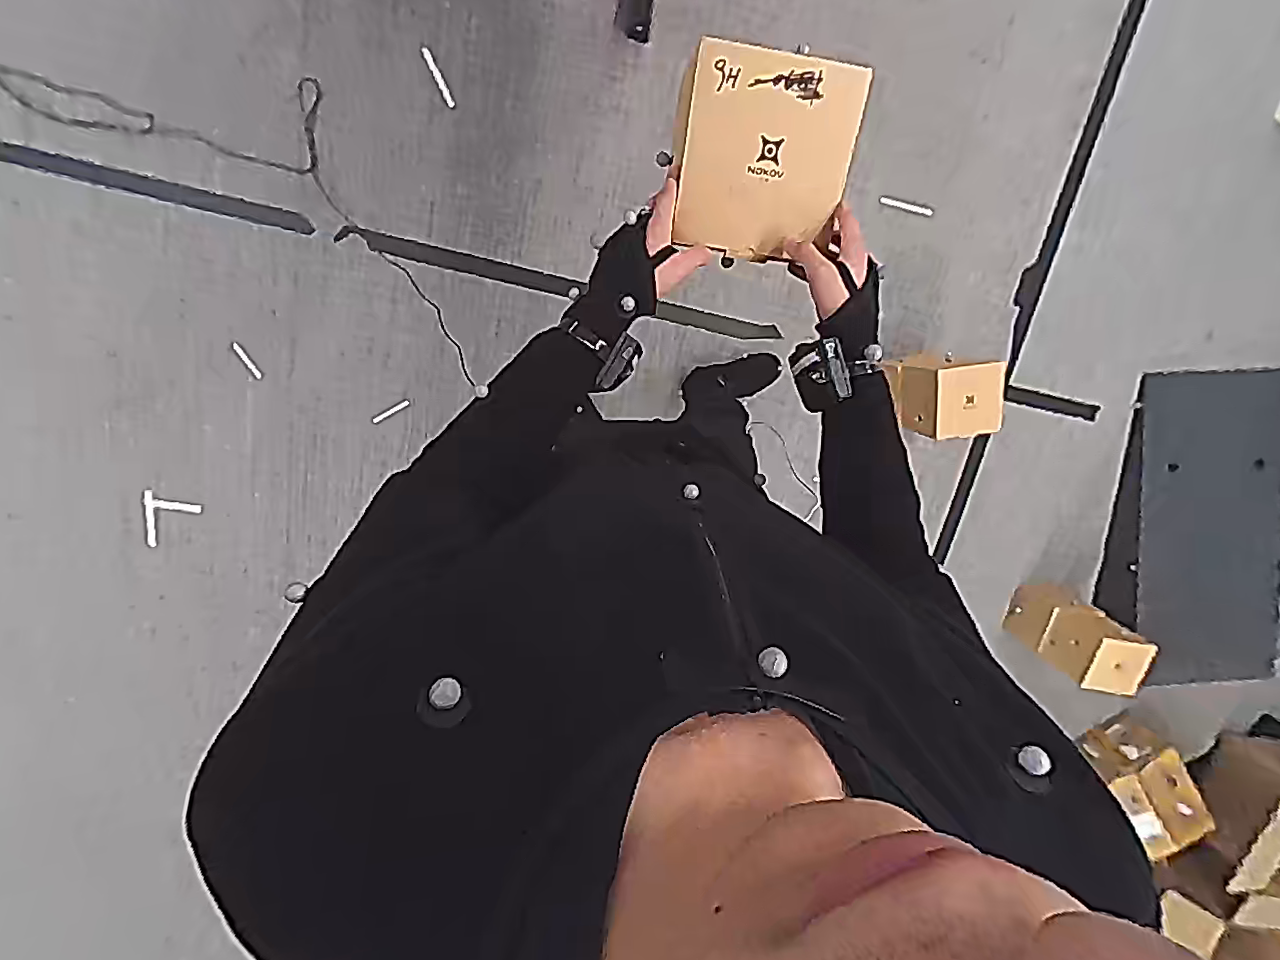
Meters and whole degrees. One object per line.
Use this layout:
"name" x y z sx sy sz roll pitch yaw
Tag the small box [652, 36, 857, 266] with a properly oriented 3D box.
"small box" 0.108 -0.349 0.602 0.168 0.176 0.179 6 115 -6
